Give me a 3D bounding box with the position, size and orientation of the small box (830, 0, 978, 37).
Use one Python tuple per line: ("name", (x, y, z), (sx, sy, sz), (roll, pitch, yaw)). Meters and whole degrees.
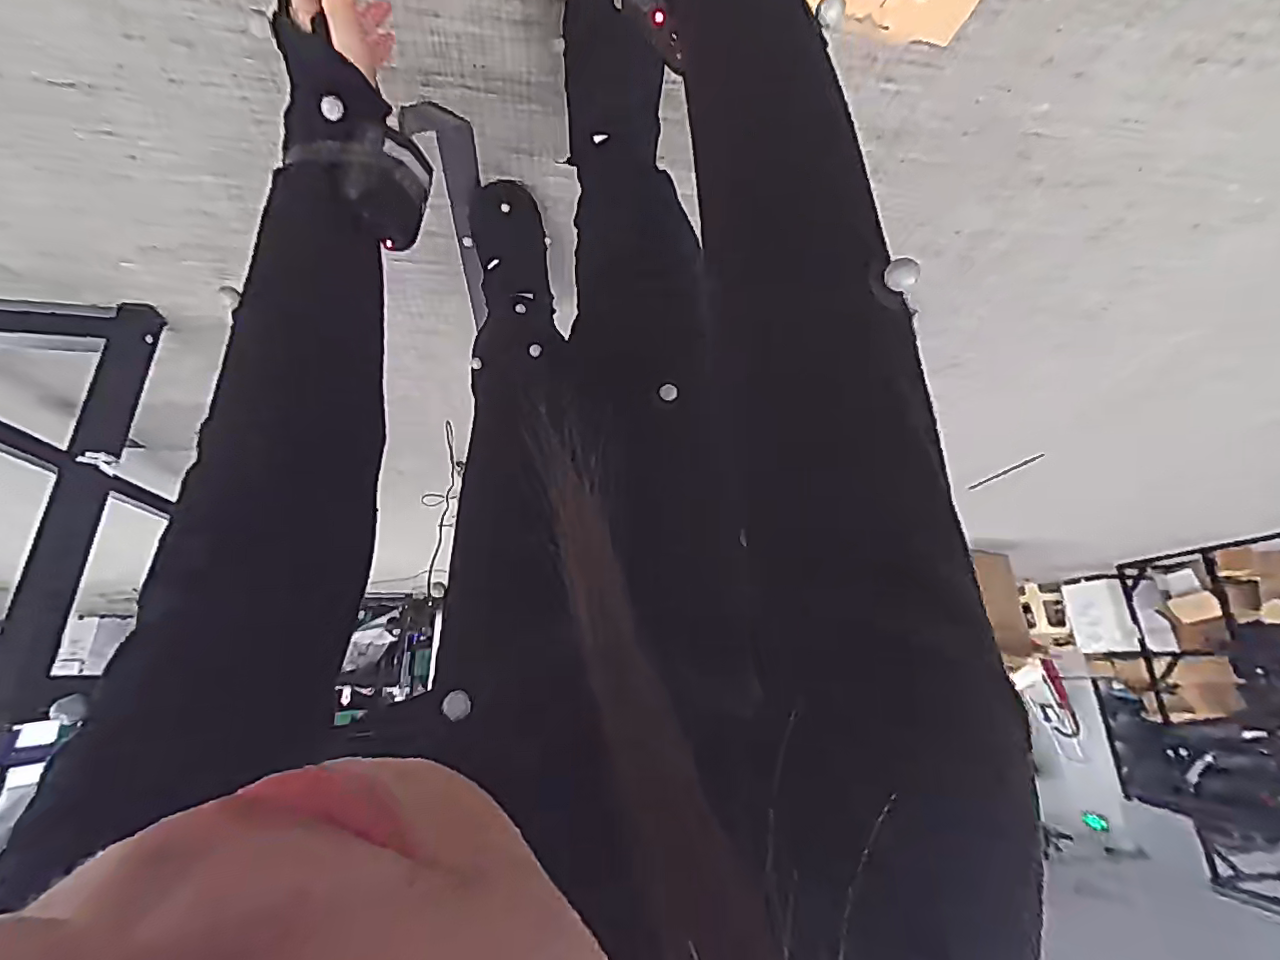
("small box", (0.215, -0.498, 0.405), (0.168, 0.176, 0.179), (3, 159, -14))
